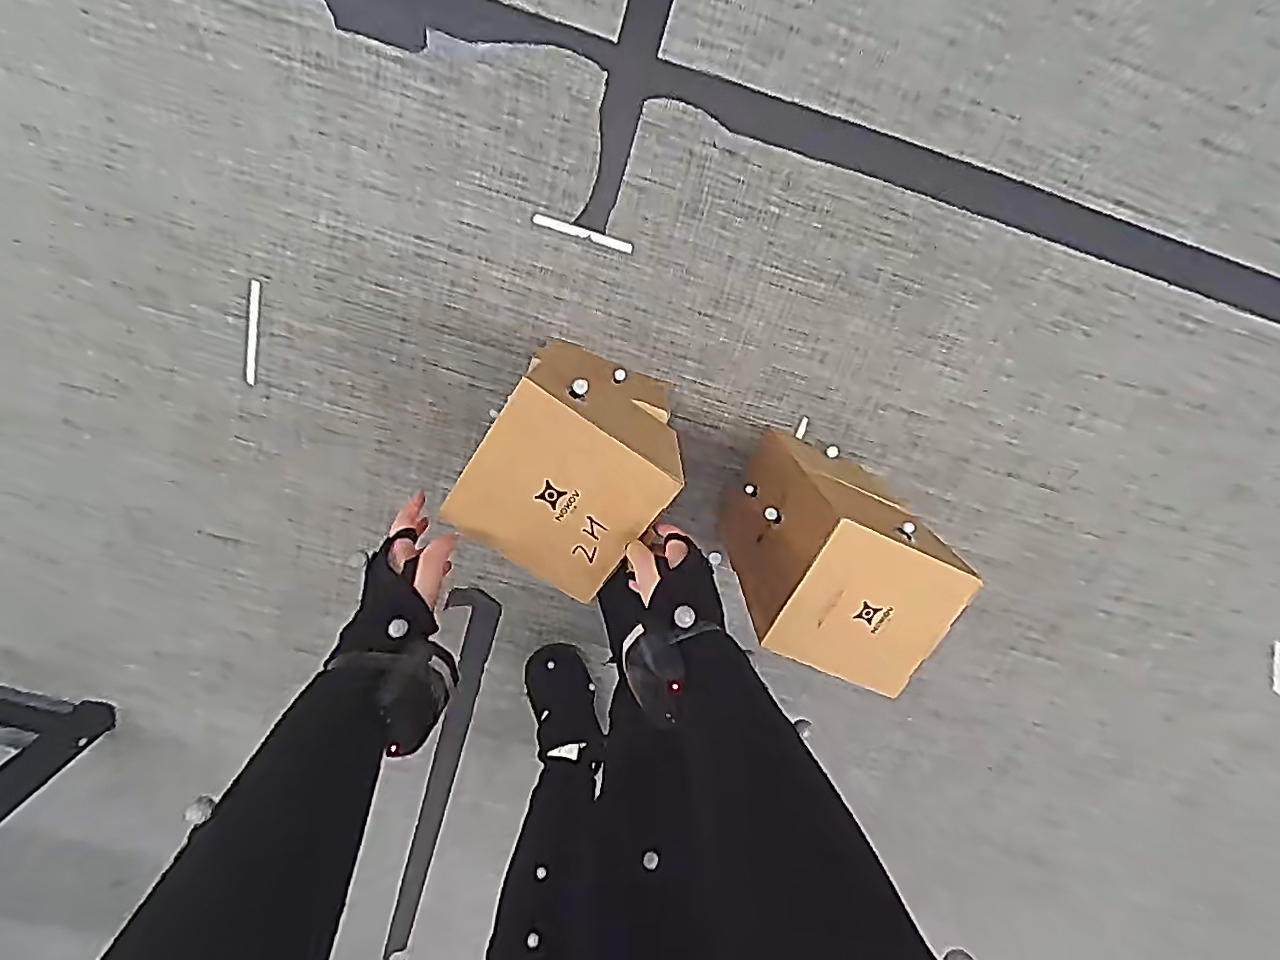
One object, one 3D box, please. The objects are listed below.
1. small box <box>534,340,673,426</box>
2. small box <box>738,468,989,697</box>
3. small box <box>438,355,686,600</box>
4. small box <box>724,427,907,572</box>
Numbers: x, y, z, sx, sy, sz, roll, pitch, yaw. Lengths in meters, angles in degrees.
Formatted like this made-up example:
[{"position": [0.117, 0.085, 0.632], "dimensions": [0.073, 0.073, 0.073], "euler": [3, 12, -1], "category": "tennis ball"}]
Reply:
[{"position": [-0.072, -0.074, 0.726], "dimensions": [0.179, 0.176, 0.168], "euler": [22, 110, -9], "category": "small box"}, {"position": [0.236, 0.107, 0.623], "dimensions": [0.179, 0.176, 0.168], "euler": [25, 109, -9], "category": "small box"}, {"position": [-0.073, -0.015, 0.572], "dimensions": [0.179, 0.176, 0.168], "euler": [34, 109, -12], "category": "small box"}, {"position": [0.233, 0.048, 0.776], "dimensions": [0.168, 0.176, 0.179], "euler": [23, 110, -9], "category": "small box"}]
